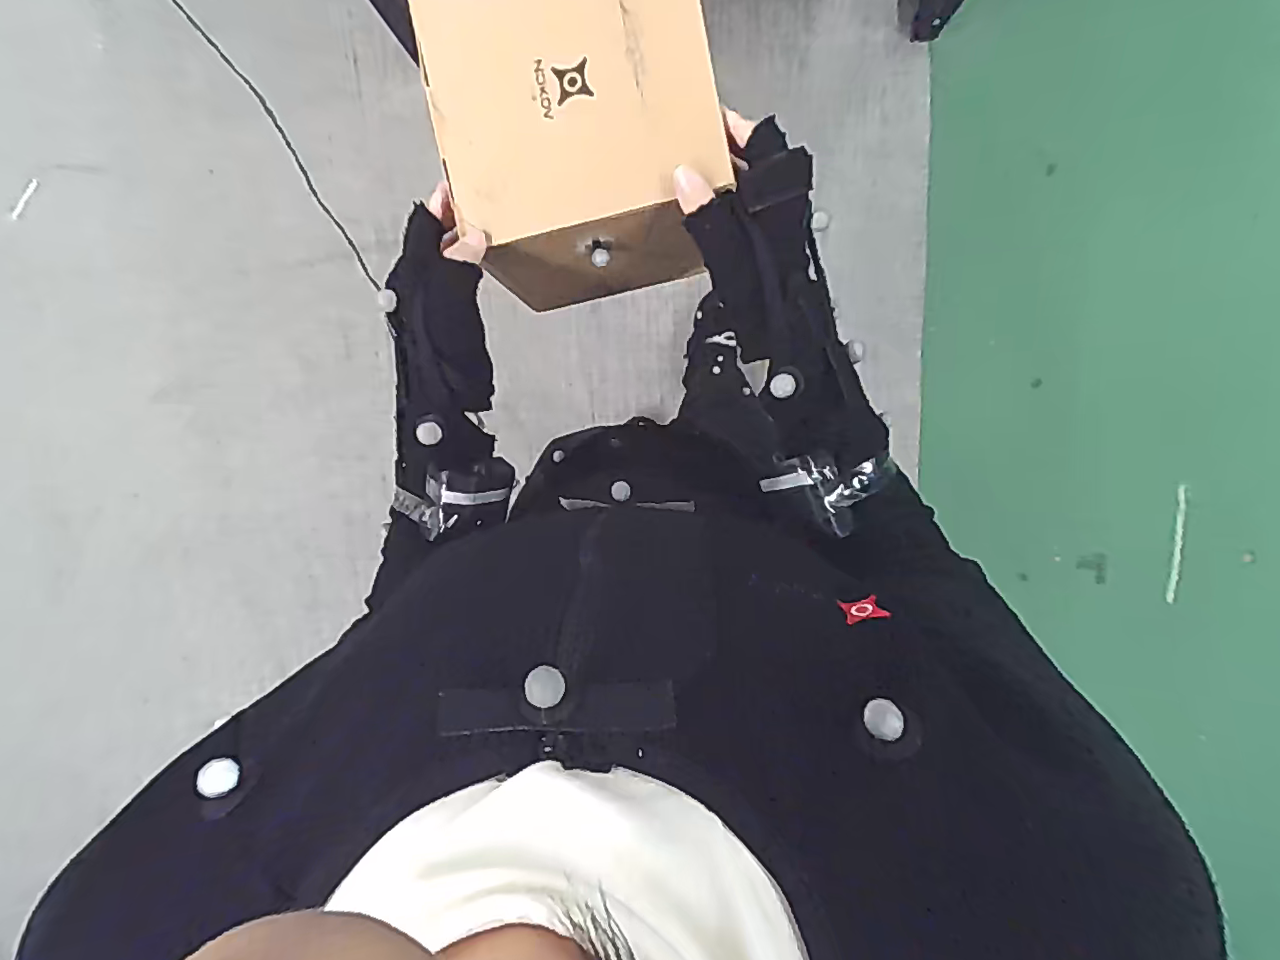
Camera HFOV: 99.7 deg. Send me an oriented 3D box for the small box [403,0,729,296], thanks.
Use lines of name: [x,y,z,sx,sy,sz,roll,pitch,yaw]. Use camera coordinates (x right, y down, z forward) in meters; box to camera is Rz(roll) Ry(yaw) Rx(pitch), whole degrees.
small box: [-0.039,-0.252,0.402,0.179,0.176,0.168,-12,95,5]
